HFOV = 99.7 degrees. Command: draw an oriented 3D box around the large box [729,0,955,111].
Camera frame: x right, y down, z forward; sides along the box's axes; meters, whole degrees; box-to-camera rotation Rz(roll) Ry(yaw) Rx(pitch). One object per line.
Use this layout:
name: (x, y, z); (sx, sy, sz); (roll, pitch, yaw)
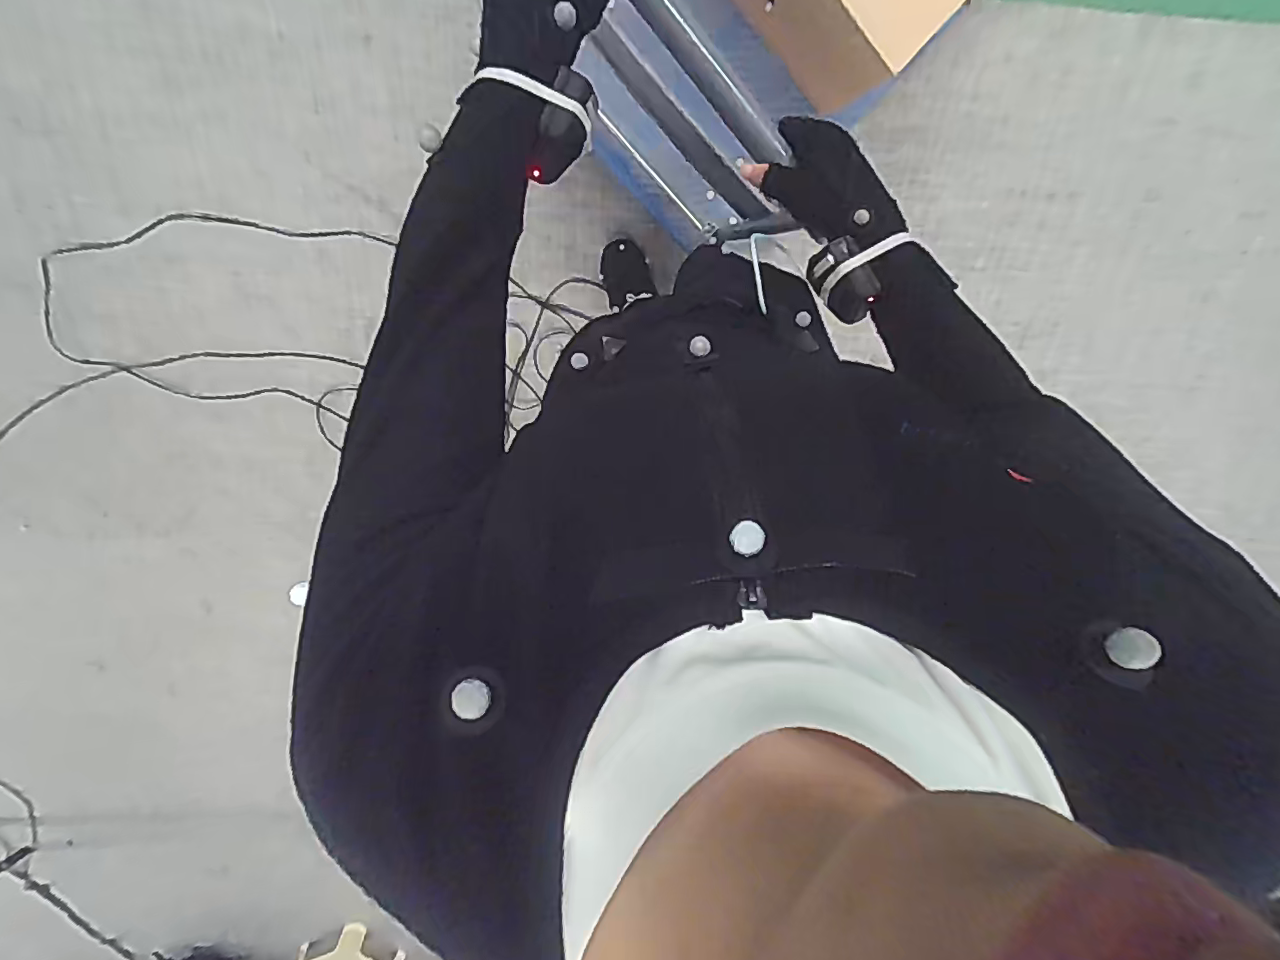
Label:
large box: (0.310, -0.869, 0.814); (0.408, 0.320, 0.320); (39, 107, -17)
